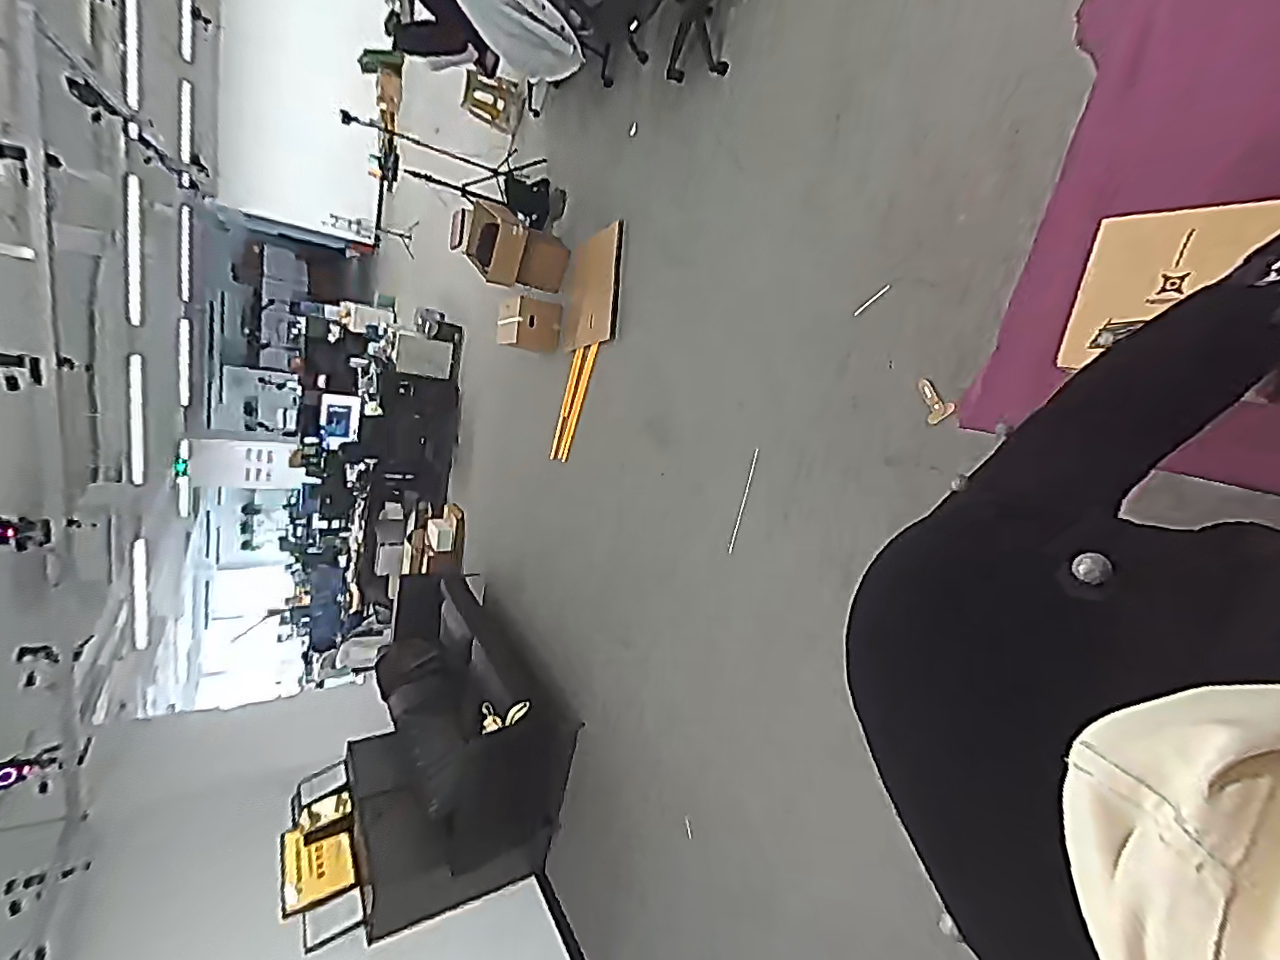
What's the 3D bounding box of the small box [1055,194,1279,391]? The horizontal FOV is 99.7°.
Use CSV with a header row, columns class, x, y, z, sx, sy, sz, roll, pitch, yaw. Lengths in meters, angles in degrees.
class,x,y,z,sx,sy,sz,roll,pitch,yaw
small box,0.644,-0.209,0.640,0.168,0.176,0.179,26,107,54
